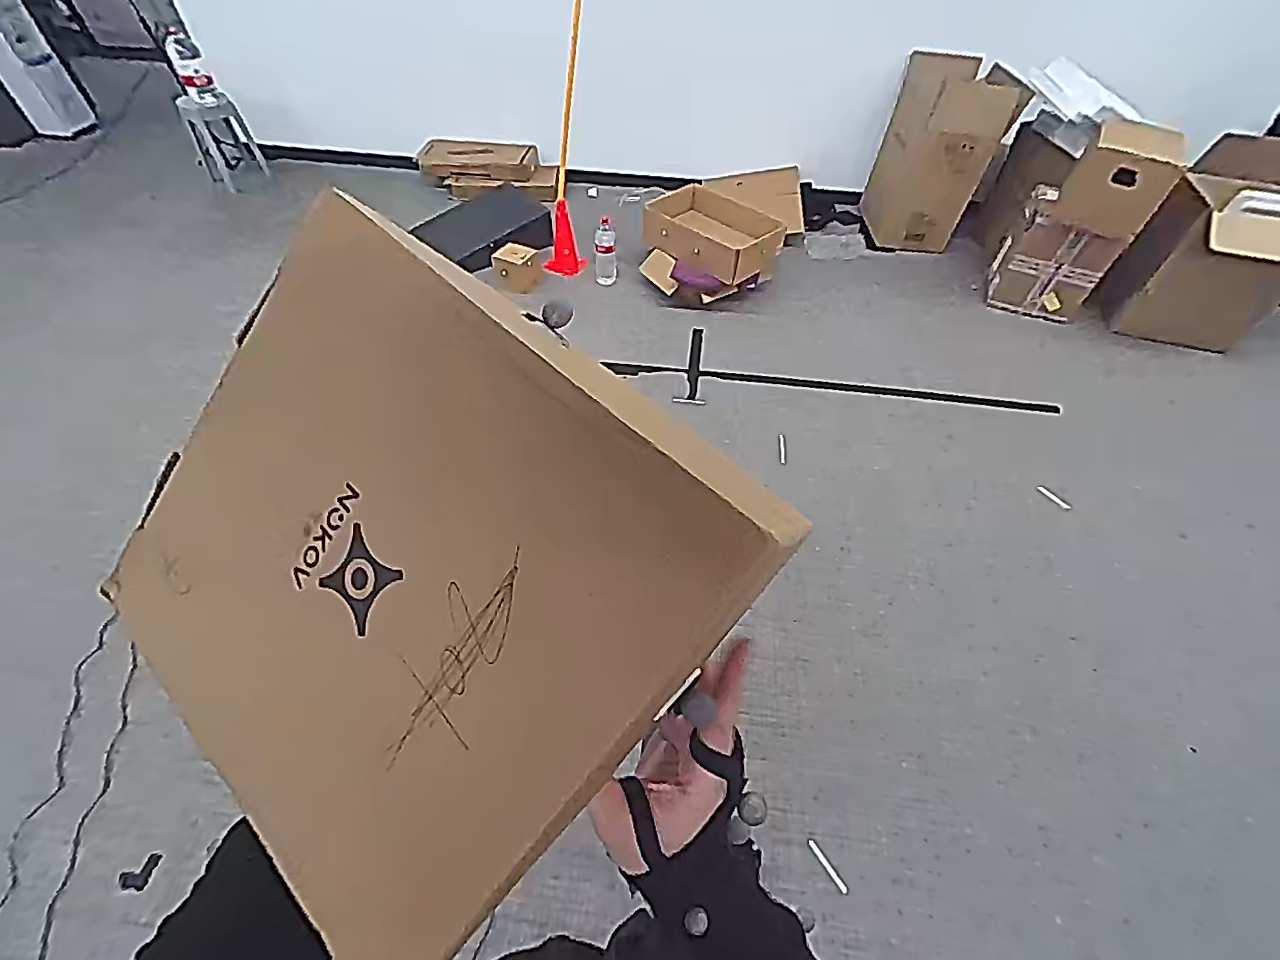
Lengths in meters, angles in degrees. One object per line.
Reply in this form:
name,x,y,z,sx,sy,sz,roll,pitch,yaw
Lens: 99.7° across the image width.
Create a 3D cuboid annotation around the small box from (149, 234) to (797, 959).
small box,-0.051,0.035,0.244,0.179,0.176,0.168,38,100,18
